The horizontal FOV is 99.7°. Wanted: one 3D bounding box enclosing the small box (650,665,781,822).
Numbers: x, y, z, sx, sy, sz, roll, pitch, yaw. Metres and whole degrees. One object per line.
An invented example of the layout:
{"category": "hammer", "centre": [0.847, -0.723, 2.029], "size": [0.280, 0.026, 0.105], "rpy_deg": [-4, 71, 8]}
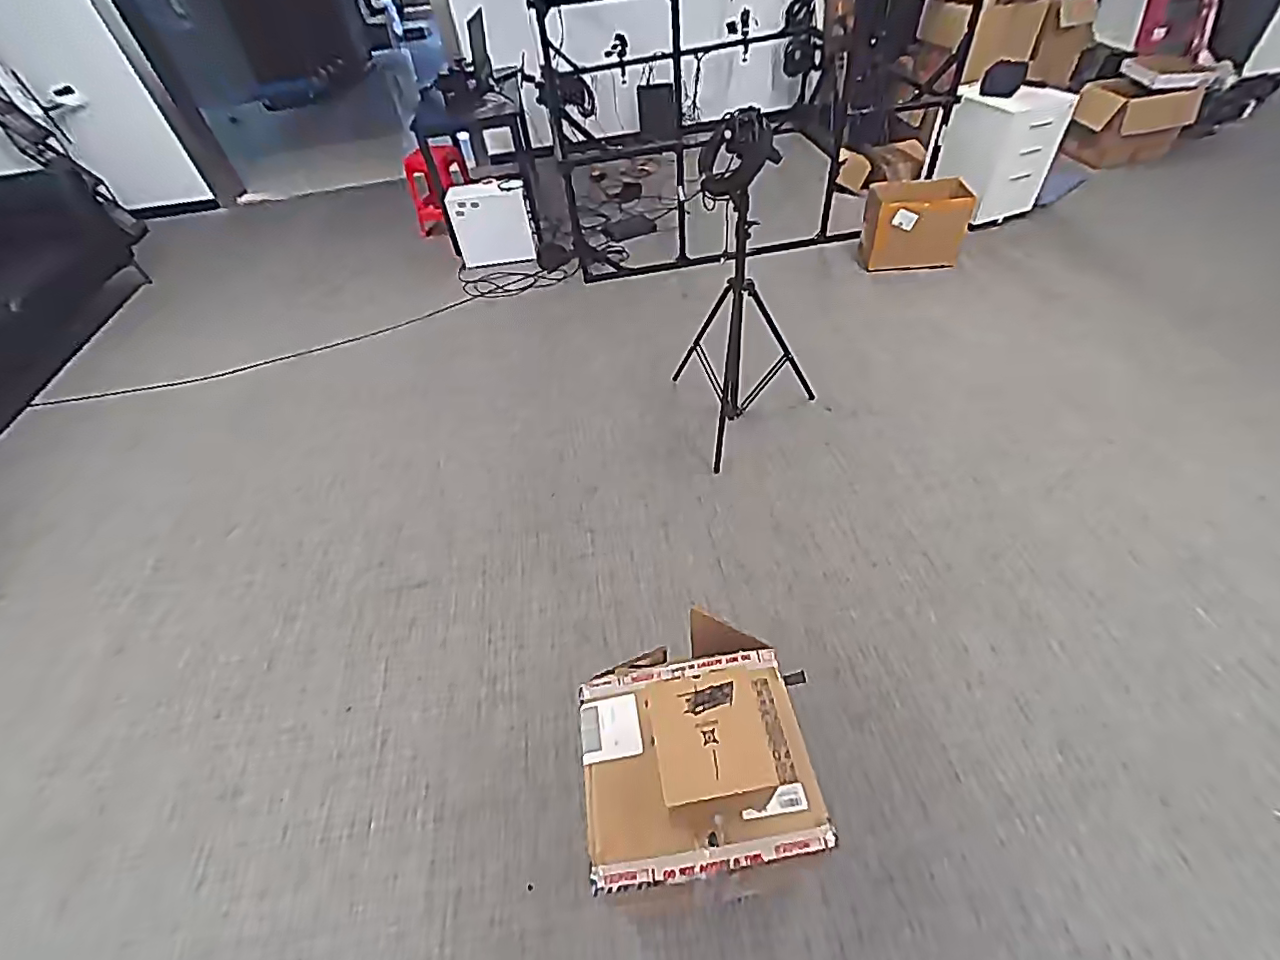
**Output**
{"category": "small box", "centre": [0.112, 0.425, 0.871], "size": [0.168, 0.176, 0.179], "rpy_deg": [-10, 50, -2]}
